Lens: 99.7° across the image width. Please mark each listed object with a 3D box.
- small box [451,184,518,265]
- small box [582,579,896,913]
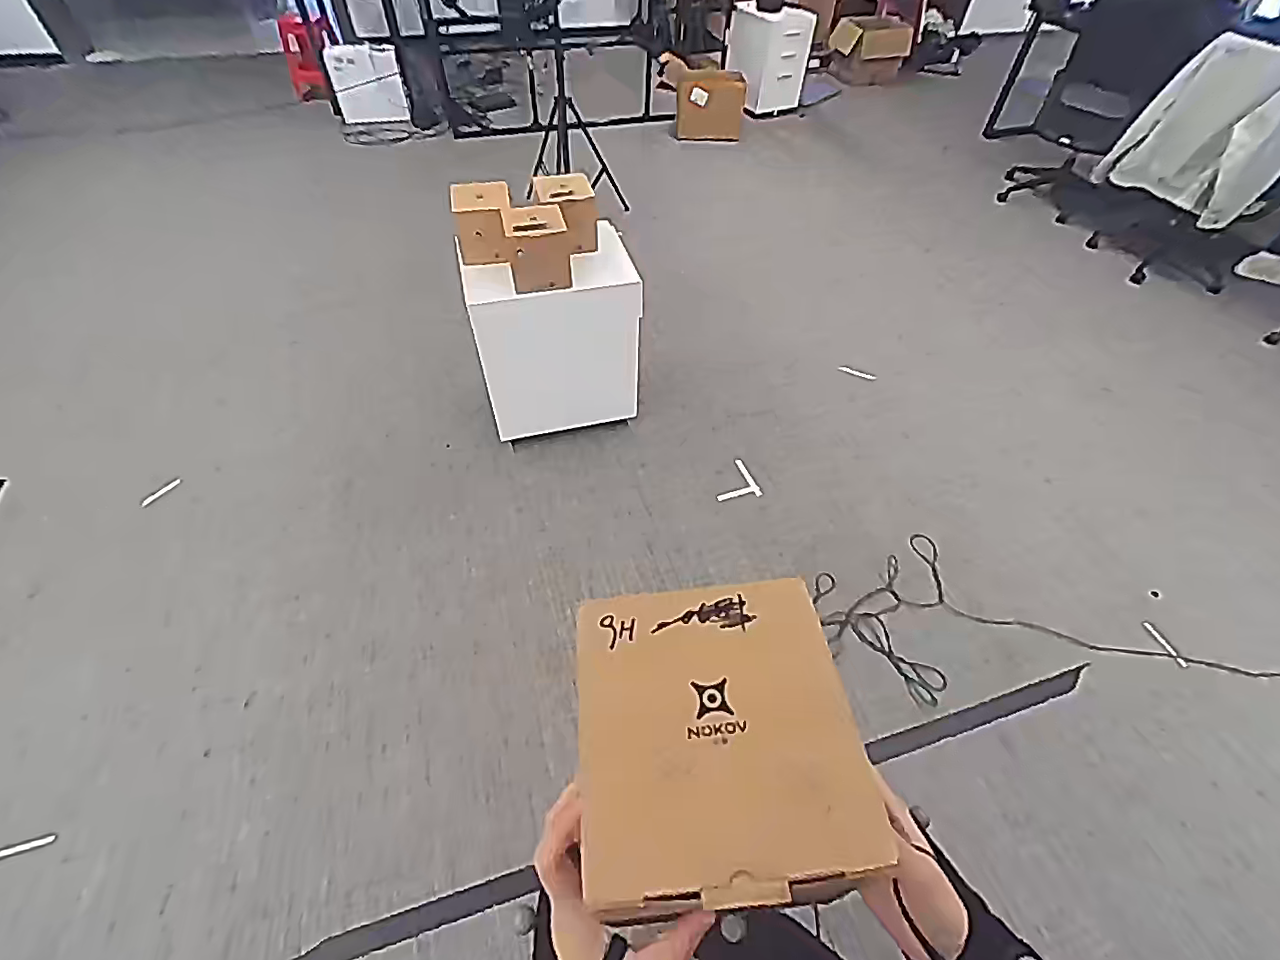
[{"bbox_3d":[-0.466,-0.766,1.631,0.168,0.176,0.179,-9,52,-10],"label":"small box"},{"bbox_3d":[0.051,0.195,0.391,0.168,0.176,0.179,-6,49,-2],"label":"small box"}]
